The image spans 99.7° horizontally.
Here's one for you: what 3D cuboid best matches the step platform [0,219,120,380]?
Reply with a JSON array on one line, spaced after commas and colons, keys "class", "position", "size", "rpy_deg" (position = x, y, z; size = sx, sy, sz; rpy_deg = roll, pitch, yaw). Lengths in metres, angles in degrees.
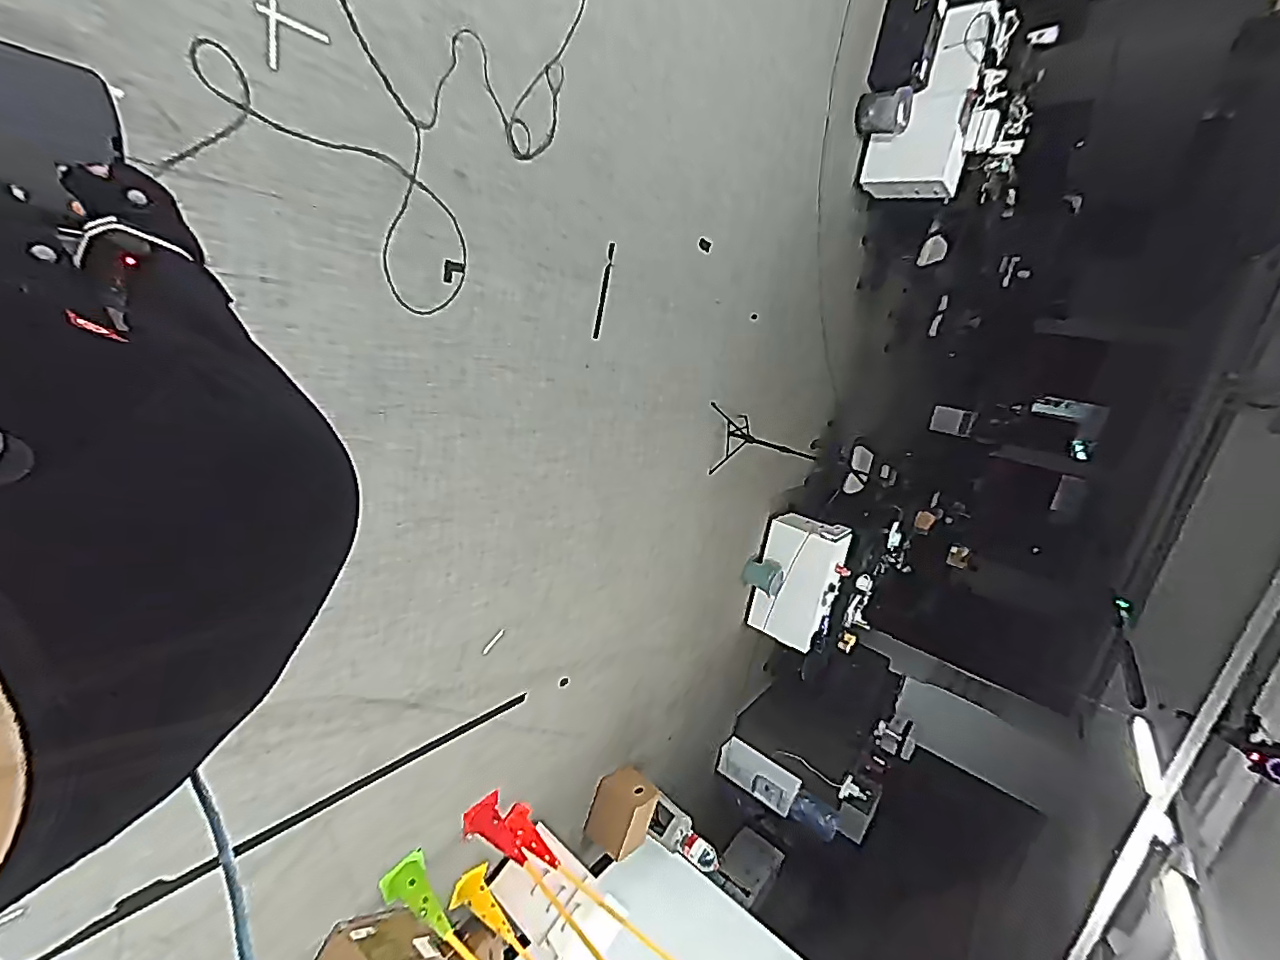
[{"class": "step platform", "position": [-1.307, -0.317, 0.867], "size": [0.684, 0.204, 0.286], "rpy_deg": [-11, 115, -50]}]
